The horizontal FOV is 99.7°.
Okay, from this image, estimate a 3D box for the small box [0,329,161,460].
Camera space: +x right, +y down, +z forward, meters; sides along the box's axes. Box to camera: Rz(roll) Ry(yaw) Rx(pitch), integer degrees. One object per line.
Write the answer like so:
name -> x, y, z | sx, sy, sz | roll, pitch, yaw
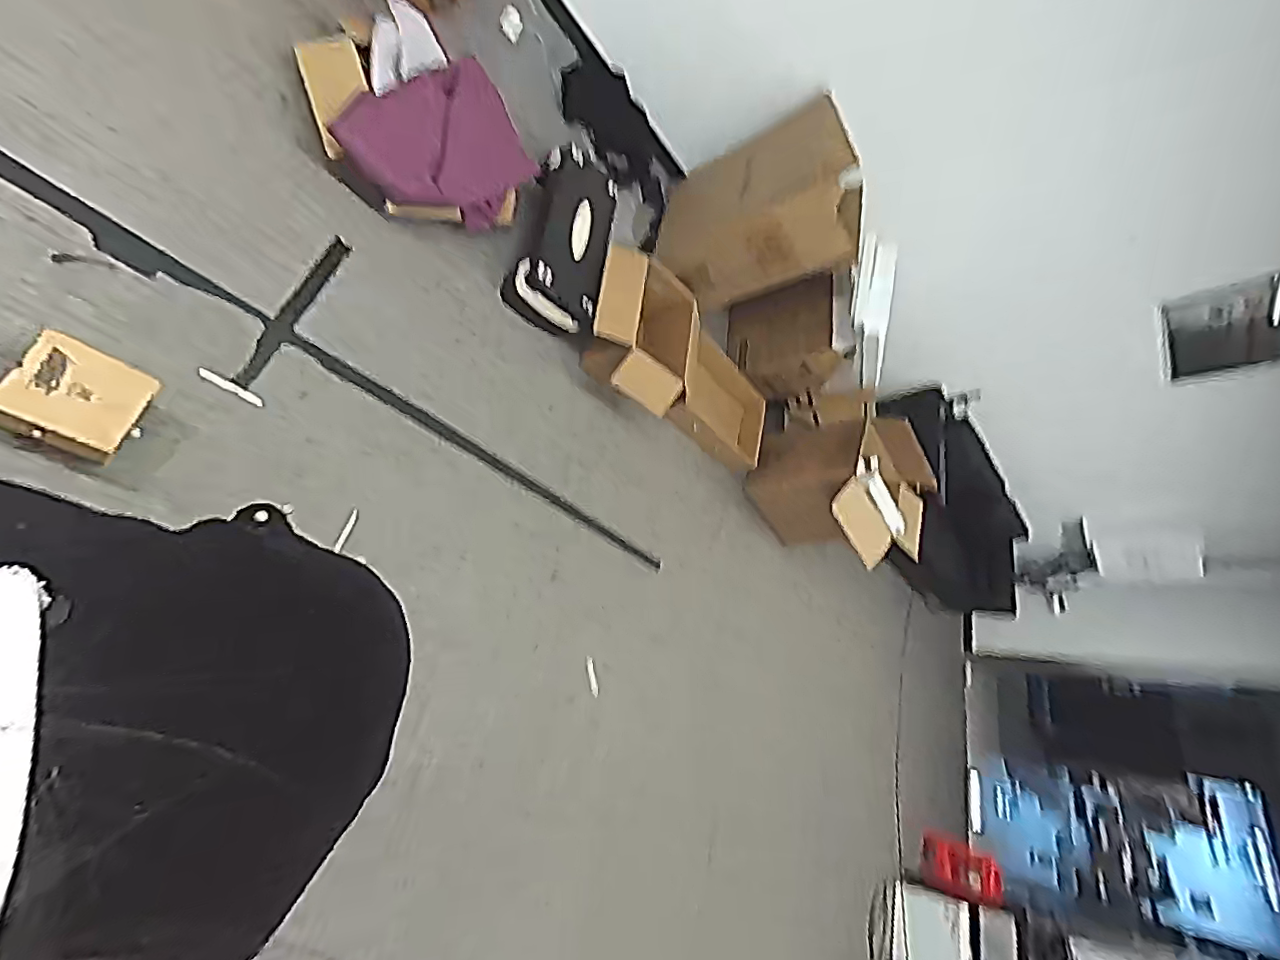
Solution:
small box -> -1.083, -0.152, 1.039 | 0.179, 0.176, 0.168 | 36, 58, -38
